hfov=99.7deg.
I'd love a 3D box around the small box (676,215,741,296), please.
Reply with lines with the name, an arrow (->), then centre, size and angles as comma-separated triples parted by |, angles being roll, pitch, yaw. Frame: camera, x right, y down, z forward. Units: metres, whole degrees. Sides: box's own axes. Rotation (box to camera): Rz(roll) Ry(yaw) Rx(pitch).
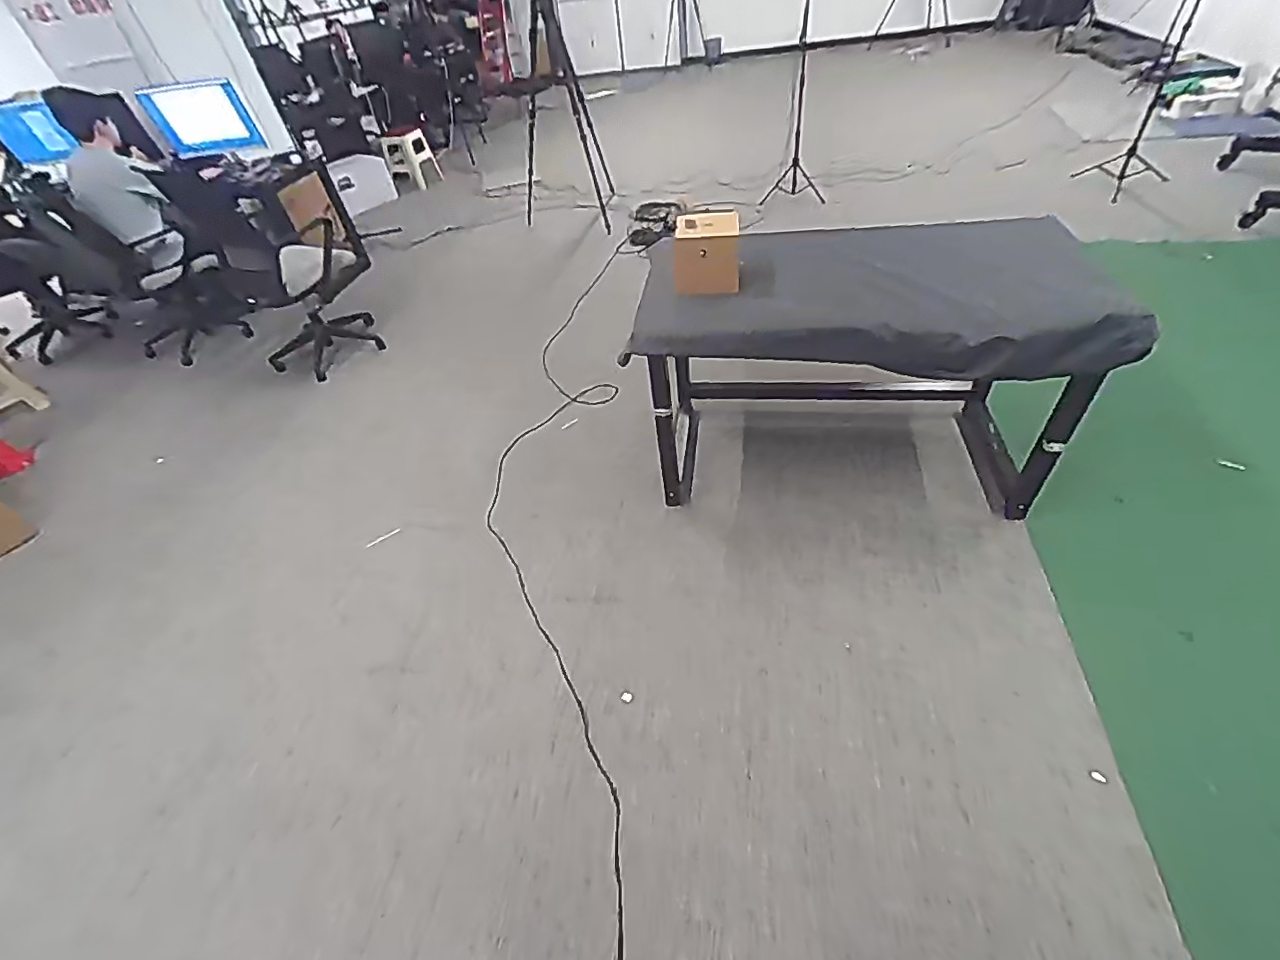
small box -> 0.200, -0.640, 1.553 | 0.179, 0.176, 0.168 | 1, 46, 8
